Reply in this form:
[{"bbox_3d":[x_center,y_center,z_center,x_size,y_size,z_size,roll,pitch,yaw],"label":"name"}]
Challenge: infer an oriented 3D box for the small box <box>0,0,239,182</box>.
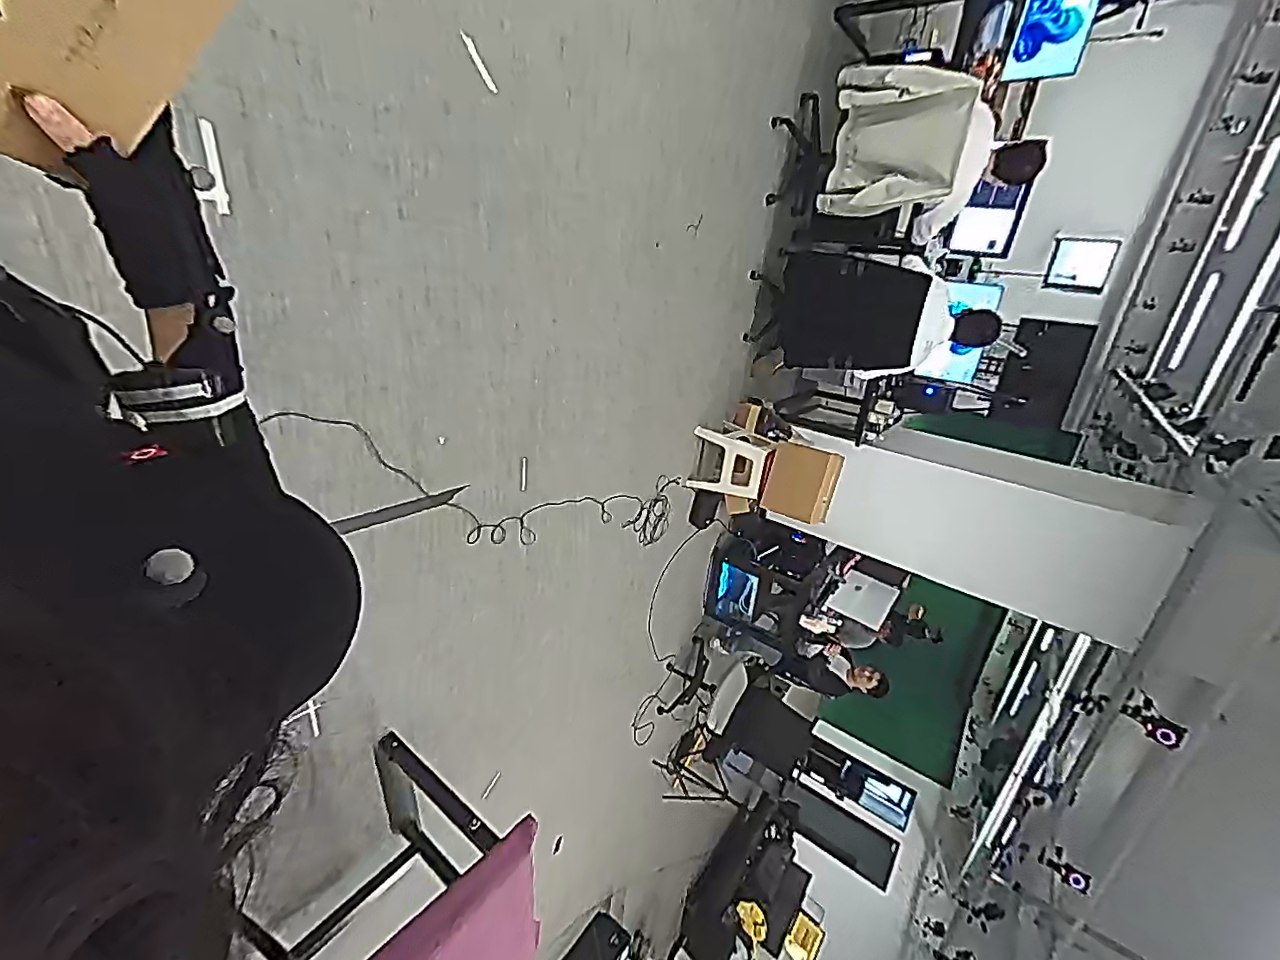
[{"bbox_3d":[-0.366,-0.308,0.271,0.168,0.176,0.179,-39,170,12],"label":"small box"}]
